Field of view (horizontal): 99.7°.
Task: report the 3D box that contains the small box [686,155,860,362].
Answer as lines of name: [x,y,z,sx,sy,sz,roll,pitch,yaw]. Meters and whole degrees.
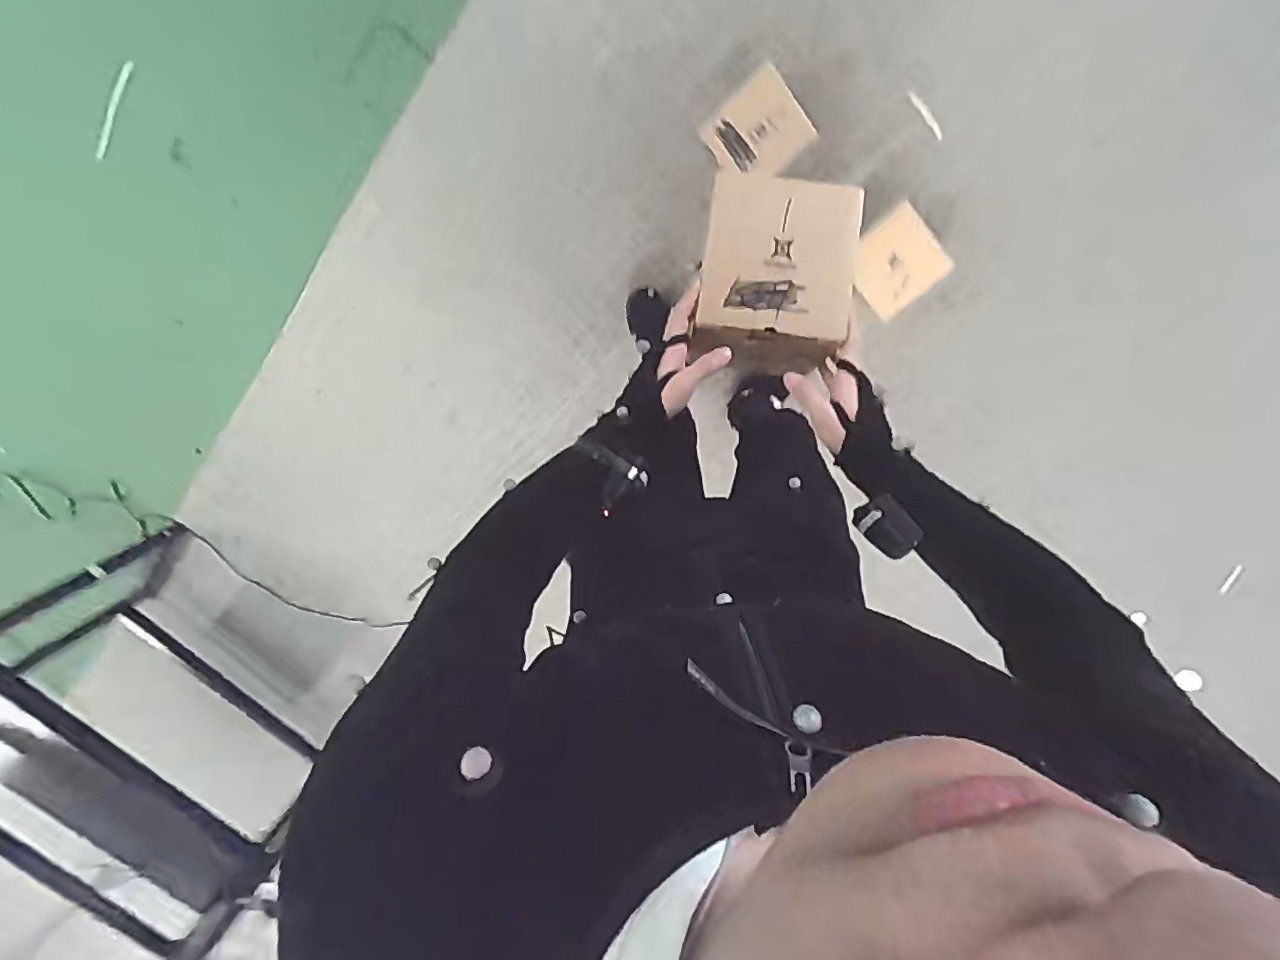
small box: [0.149,-0.255,0.663,0.168,0.176,0.179,8,87,2]

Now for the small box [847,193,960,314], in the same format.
small box: [0.552,-0.494,1.184,0.168,0.176,0.179,-38,102,27]
